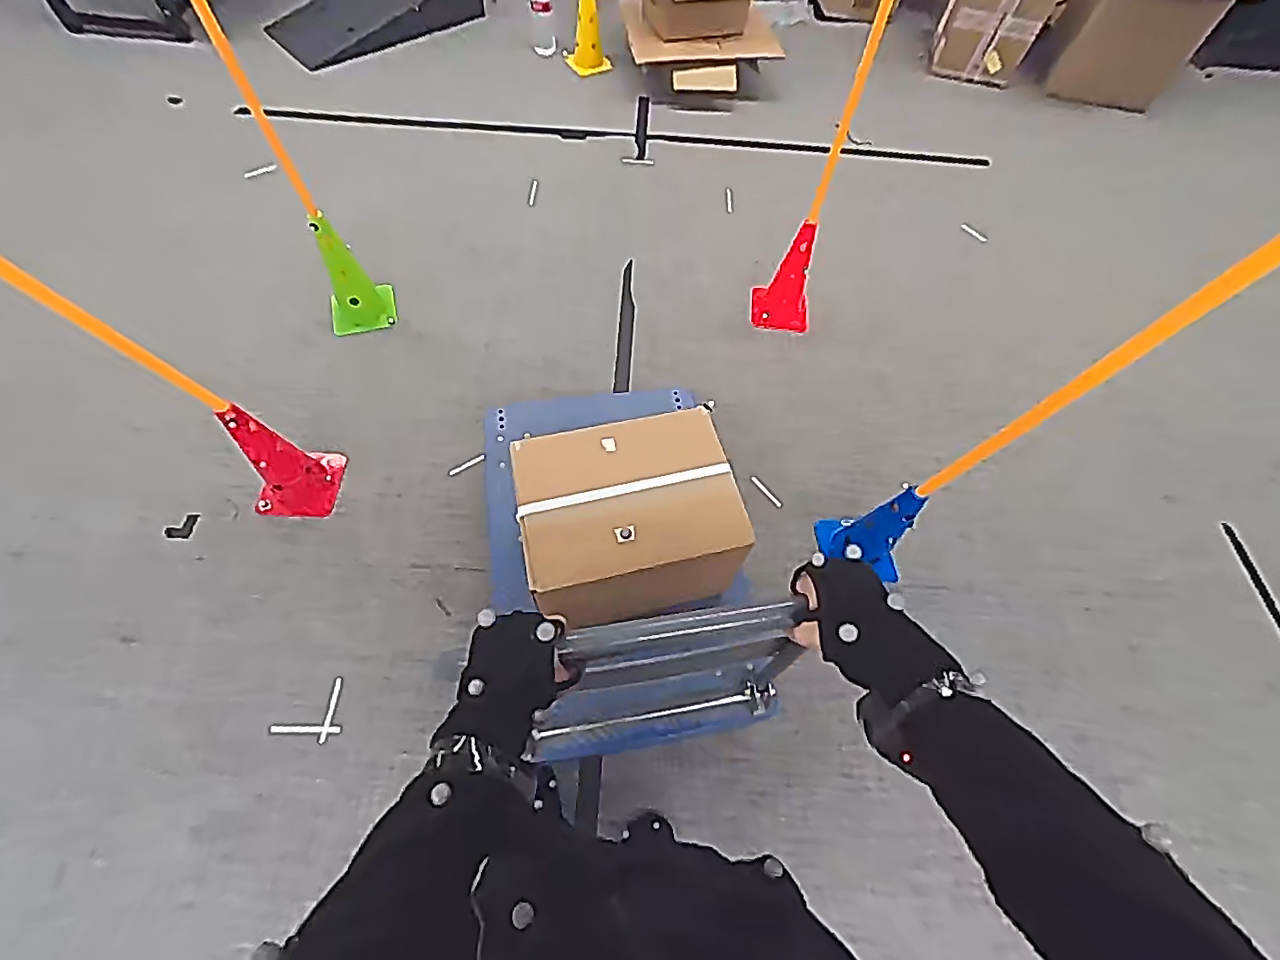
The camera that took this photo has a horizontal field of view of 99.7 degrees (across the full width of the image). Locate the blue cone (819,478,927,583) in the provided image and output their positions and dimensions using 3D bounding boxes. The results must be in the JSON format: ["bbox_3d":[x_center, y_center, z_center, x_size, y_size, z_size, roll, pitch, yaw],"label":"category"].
[{"bbox_3d":[0.612,0.112,1.356,0.193,0.380,0.192,0,60,-4],"label":"blue cone"}]

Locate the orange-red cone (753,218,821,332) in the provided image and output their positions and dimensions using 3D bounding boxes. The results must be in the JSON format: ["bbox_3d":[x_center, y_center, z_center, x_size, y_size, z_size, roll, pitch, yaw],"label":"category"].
[{"bbox_3d":[0.518,-0.692,1.774,0.199,0.360,0.198,10,62,1],"label":"orange-red cone"}]
